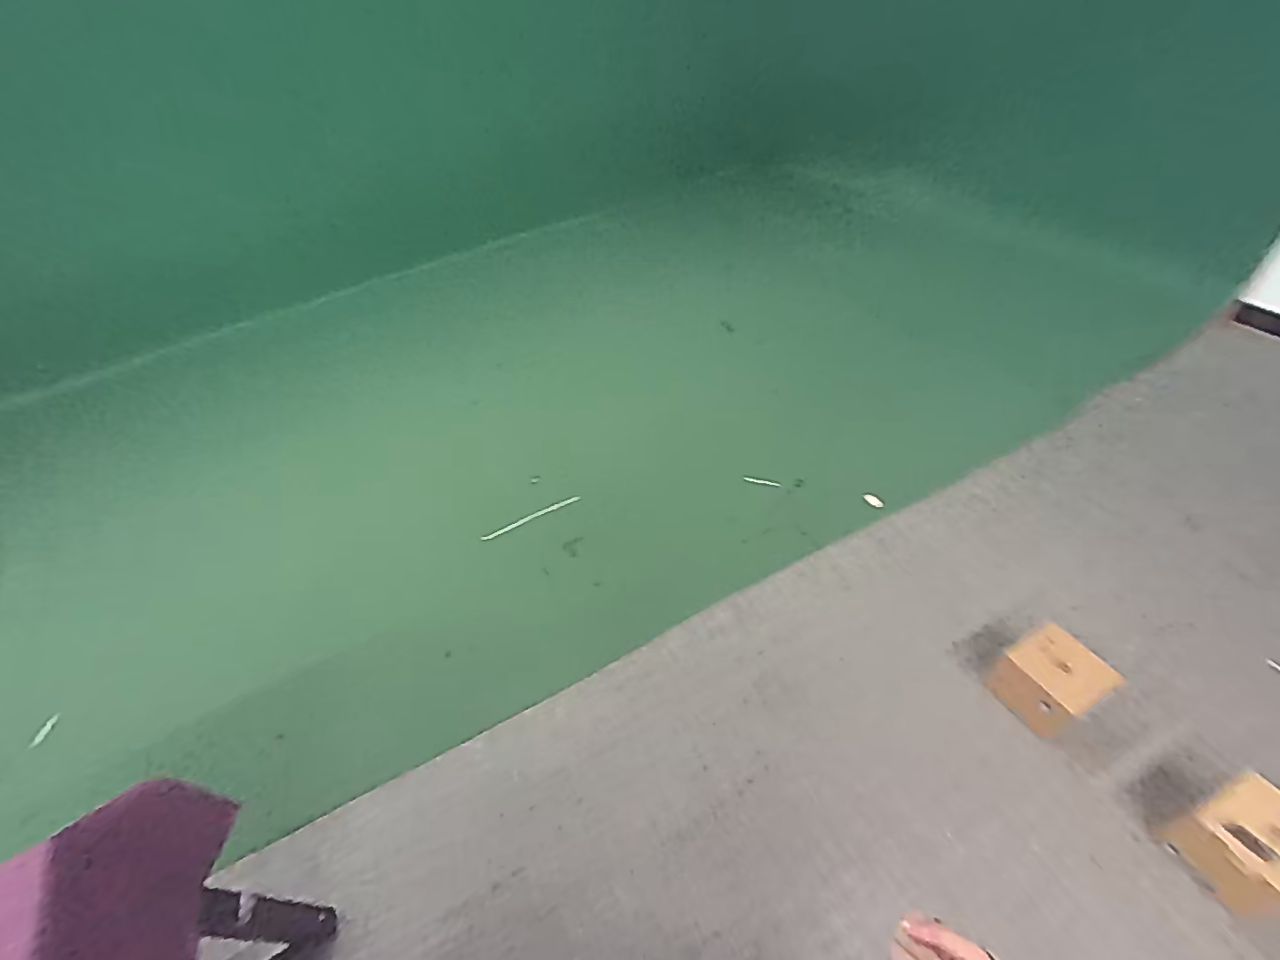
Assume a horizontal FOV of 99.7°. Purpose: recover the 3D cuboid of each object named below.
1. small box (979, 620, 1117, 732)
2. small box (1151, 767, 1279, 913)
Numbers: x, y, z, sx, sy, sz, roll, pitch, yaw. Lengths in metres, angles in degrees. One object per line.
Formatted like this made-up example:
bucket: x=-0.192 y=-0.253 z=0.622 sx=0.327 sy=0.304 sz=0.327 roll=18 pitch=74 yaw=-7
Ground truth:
small box: x=0.970 y=0.479 z=1.304 sx=0.168 sy=0.176 sz=0.179 roll=-26 pitch=49 yaw=-14
small box: x=1.168 y=0.707 z=1.058 sx=0.179 sy=0.176 sz=0.168 roll=-25 pitch=49 yaw=-14
